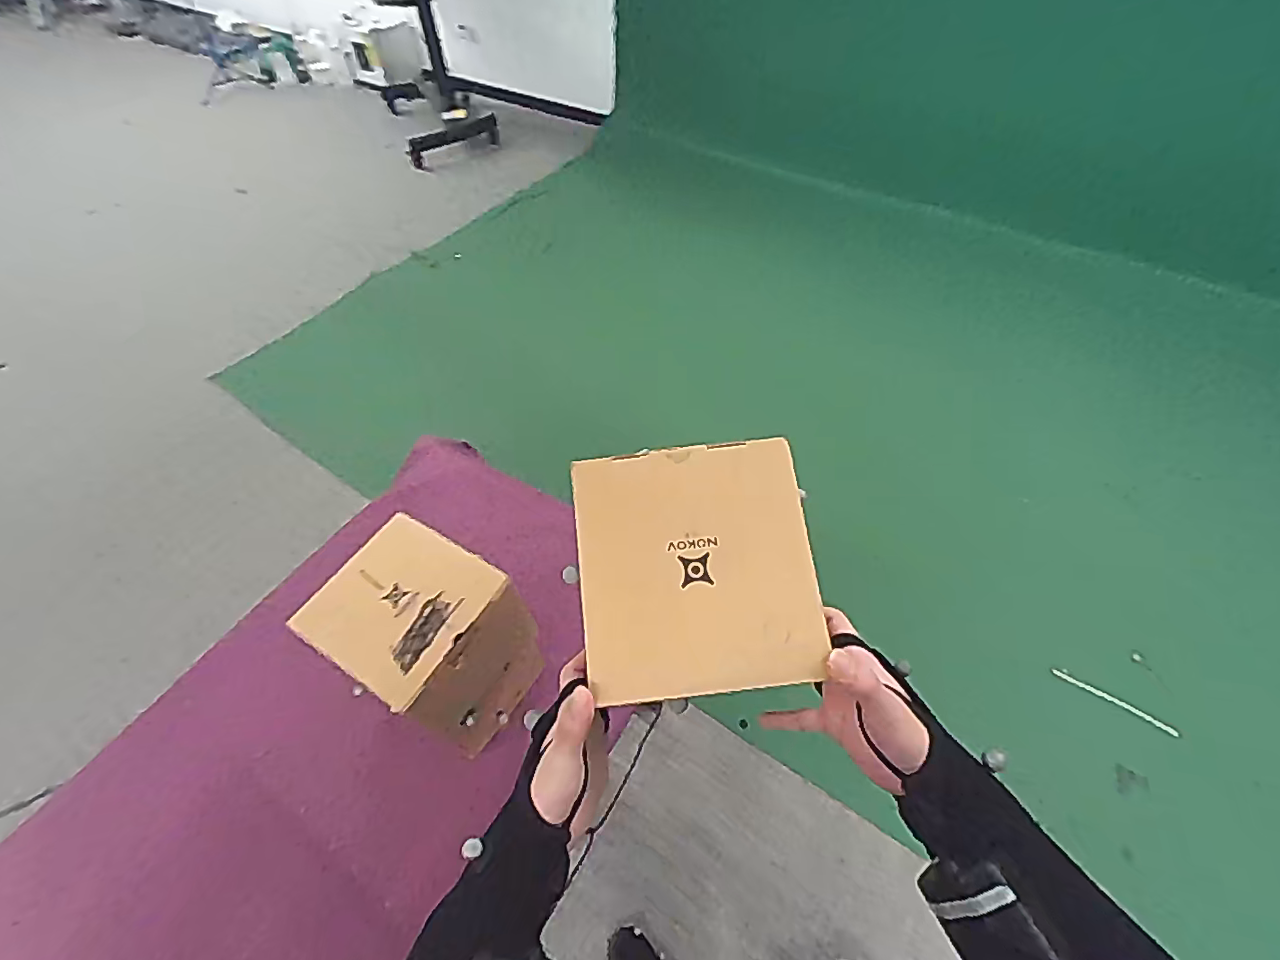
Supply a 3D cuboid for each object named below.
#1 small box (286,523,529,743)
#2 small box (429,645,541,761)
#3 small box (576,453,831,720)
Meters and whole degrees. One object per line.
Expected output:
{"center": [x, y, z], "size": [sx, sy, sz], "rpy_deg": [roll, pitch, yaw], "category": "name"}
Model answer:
{"center": [-0.258, 0.188, 0.646], "size": [0.179, 0.176, 0.168], "rpy_deg": [25, 58, 21], "category": "small box"}
{"center": [-0.270, 0.277, 0.785], "size": [0.179, 0.176, 0.168], "rpy_deg": [28, 59, 21], "category": "small box"}
{"center": [0.043, 0.094, 0.457], "size": [0.168, 0.176, 0.179], "rpy_deg": [-6, 70, 1], "category": "small box"}
